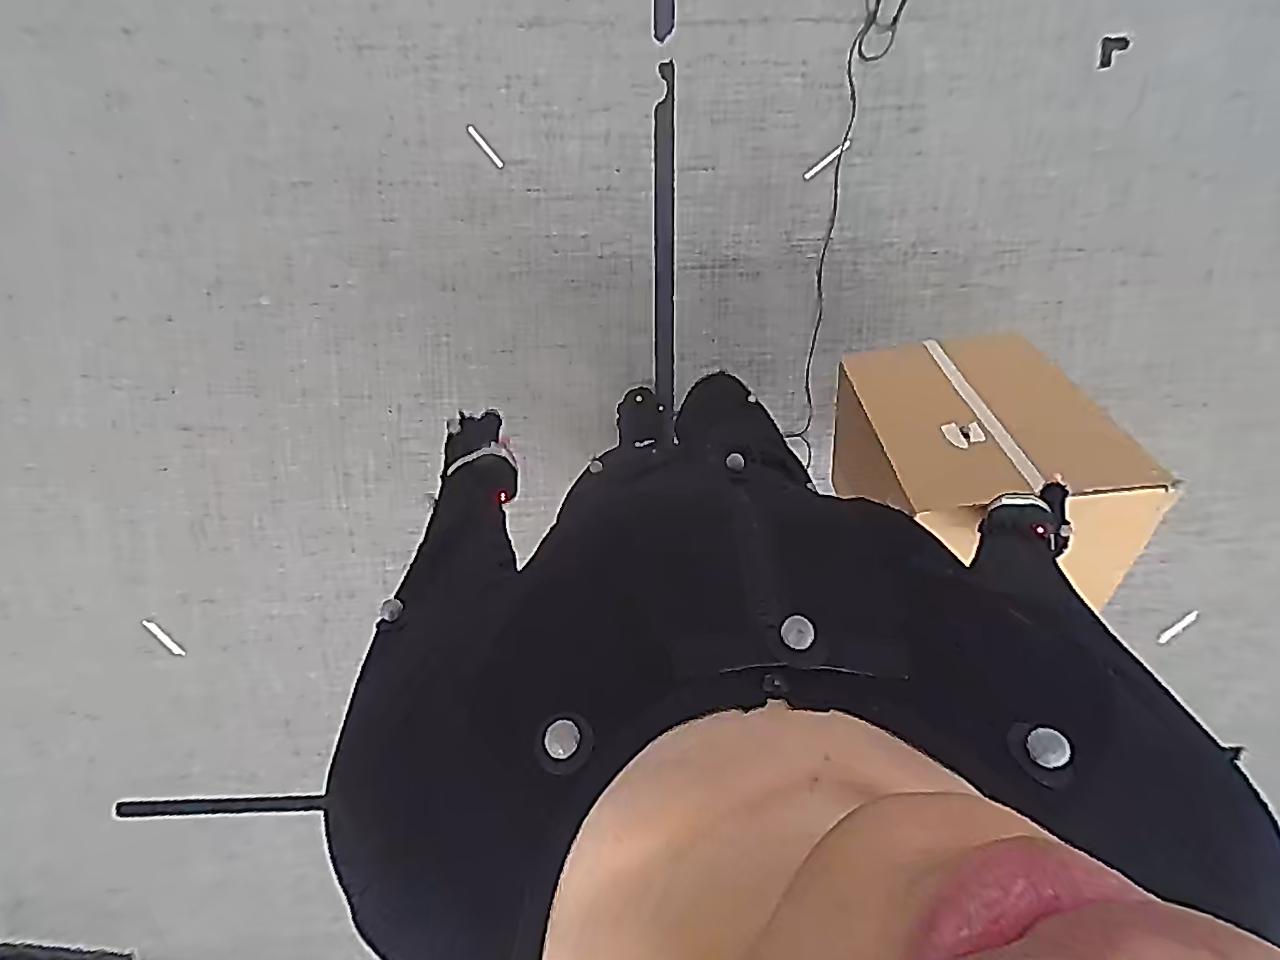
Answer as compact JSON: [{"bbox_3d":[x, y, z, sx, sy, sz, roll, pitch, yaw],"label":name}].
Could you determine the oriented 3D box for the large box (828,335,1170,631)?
[{"bbox_3d":[0.543,0.000,0.942,0.320,0.408,0.320,-8,133,8],"label":"large box"}]
